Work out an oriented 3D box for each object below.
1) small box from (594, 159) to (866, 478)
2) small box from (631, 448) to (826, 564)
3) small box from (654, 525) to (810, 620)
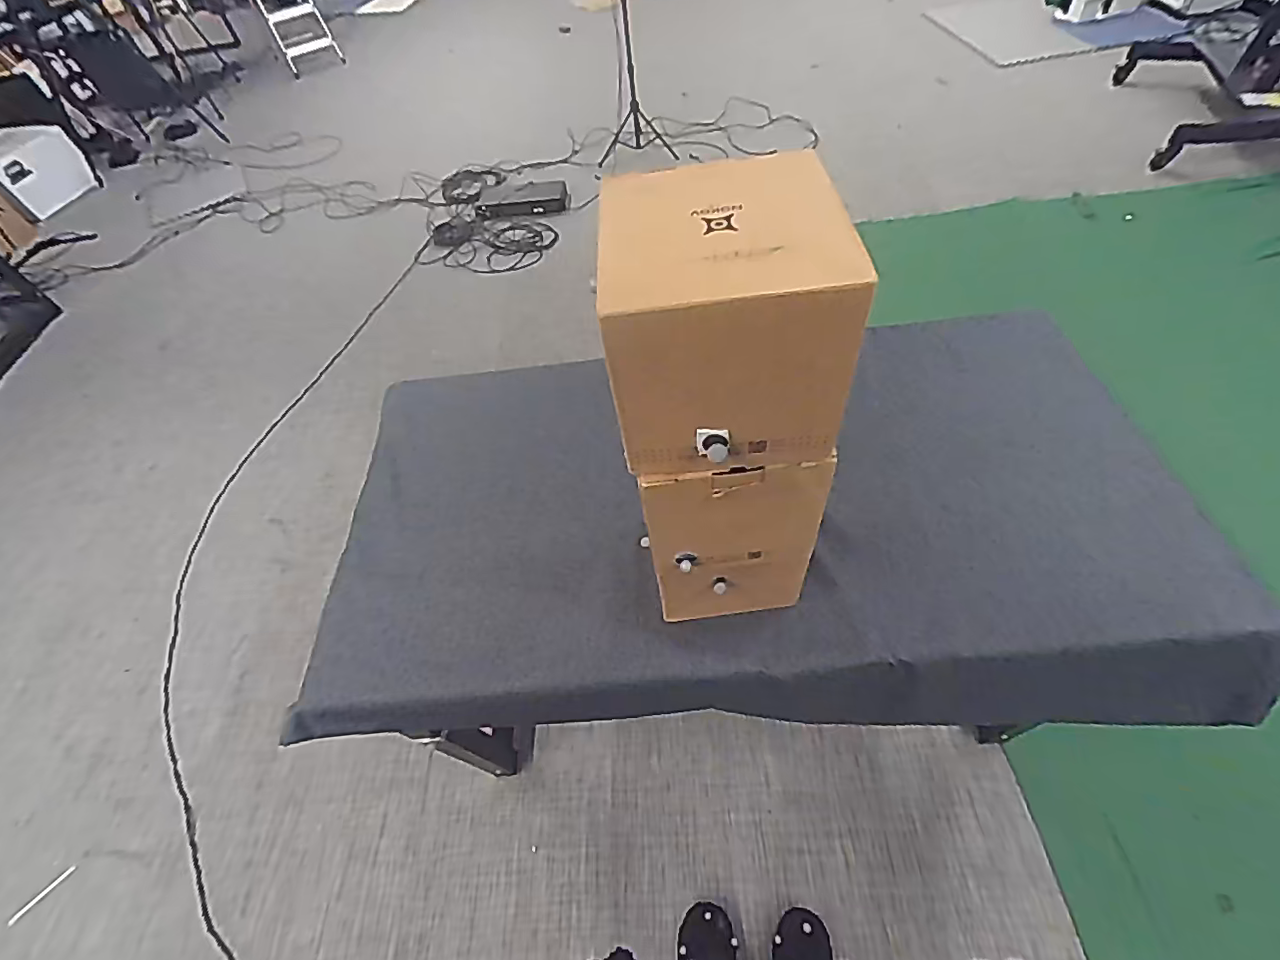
[{"bbox_3d":[0.060,-0.124,0.438,0.168,0.176,0.179,-7,54,5],"label":"small box"},{"bbox_3d":[0.080,-0.025,0.564,0.168,0.176,0.179,-8,52,3],"label":"small box"},{"bbox_3d":[0.103,0.065,0.703,0.179,0.176,0.168,-11,51,0],"label":"small box"}]
